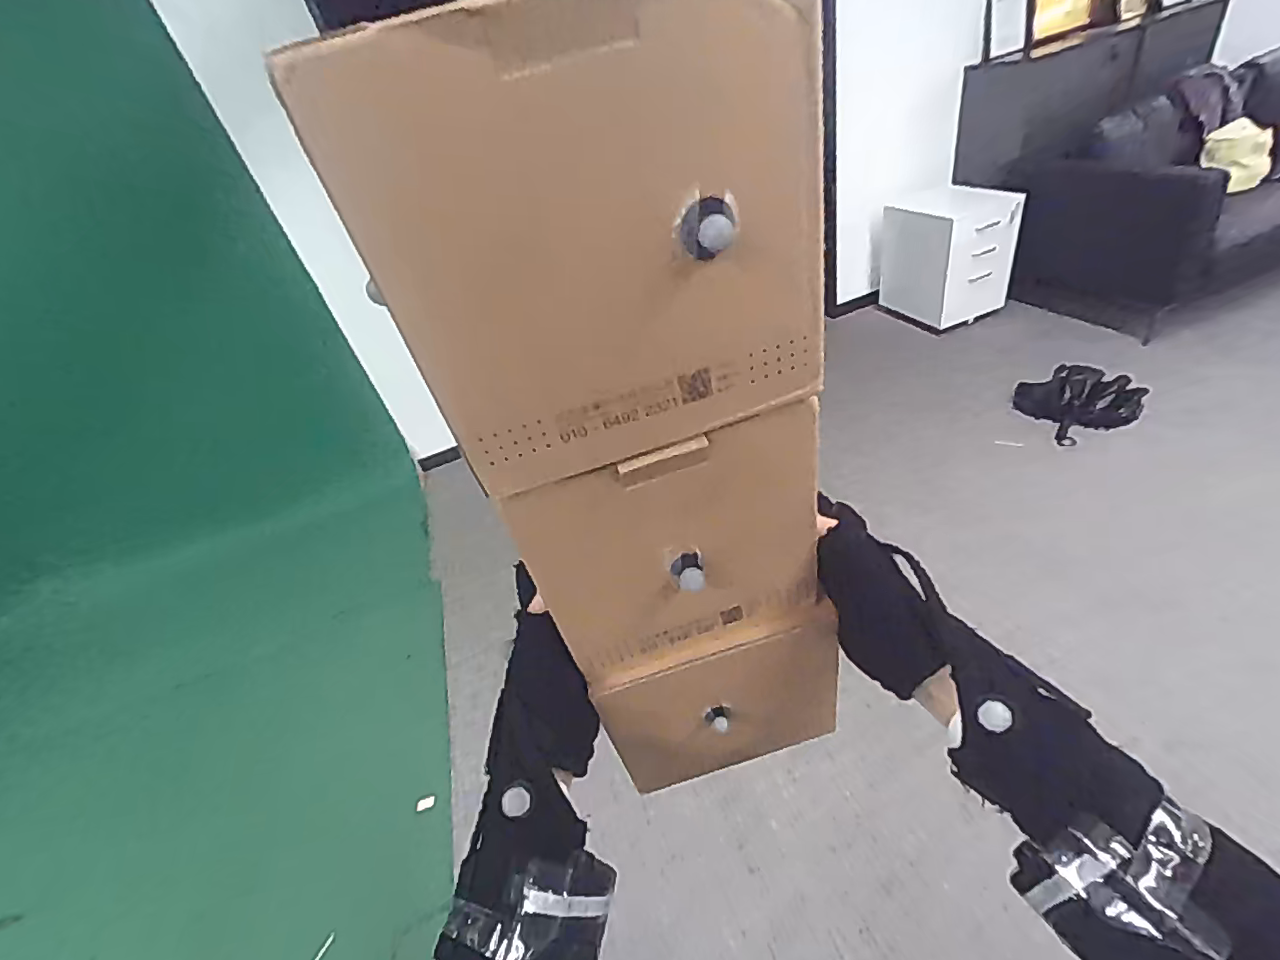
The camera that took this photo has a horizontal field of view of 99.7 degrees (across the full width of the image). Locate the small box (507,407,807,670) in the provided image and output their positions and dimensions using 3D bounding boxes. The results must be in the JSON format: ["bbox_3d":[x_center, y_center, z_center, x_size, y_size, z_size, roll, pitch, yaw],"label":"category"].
[{"bbox_3d":[0.010,0.013,0.400,0.168,0.176,0.179,-21,38,-3],"label":"small box"}]

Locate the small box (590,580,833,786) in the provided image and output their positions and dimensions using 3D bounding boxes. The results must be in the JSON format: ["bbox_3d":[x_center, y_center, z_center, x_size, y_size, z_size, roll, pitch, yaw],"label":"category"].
[{"bbox_3d":[0.055,0.141,0.488,0.179,0.176,0.168,-17,38,-1],"label":"small box"}]

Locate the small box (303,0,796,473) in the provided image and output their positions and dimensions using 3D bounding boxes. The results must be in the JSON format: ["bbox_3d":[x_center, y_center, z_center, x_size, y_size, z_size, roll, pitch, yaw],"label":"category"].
[{"bbox_3d":[-0.029,-0.121,0.283,0.168,0.176,0.179,-18,37,-4],"label":"small box"}]
